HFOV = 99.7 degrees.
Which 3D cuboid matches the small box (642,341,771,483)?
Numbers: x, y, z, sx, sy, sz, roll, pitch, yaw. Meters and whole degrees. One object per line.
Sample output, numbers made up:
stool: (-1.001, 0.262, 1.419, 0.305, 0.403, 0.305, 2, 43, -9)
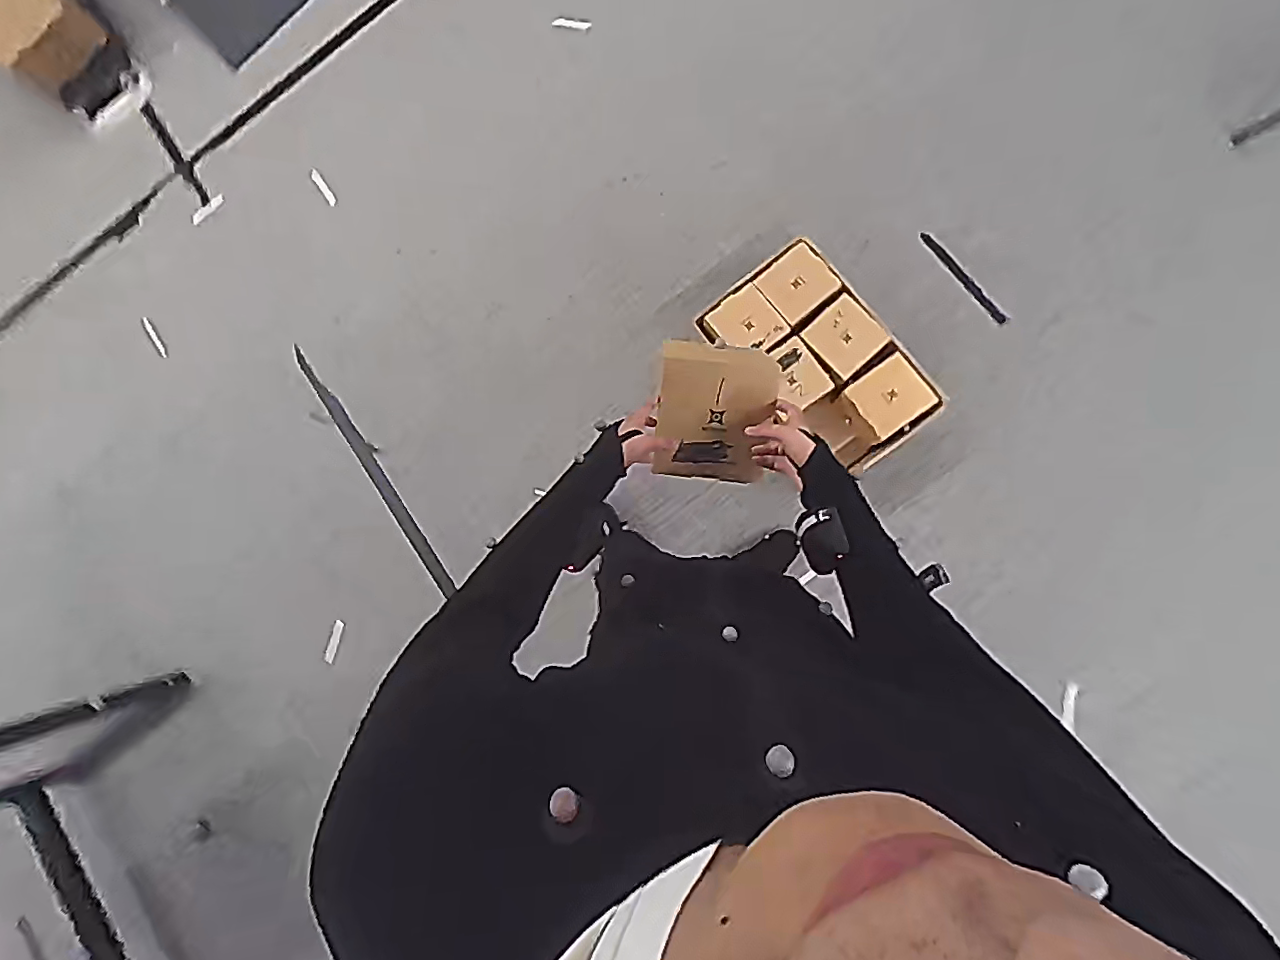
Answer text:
small box: (0.094, -0.112, 0.843, 0.168, 0.176, 0.179, 5, 111, -1)
